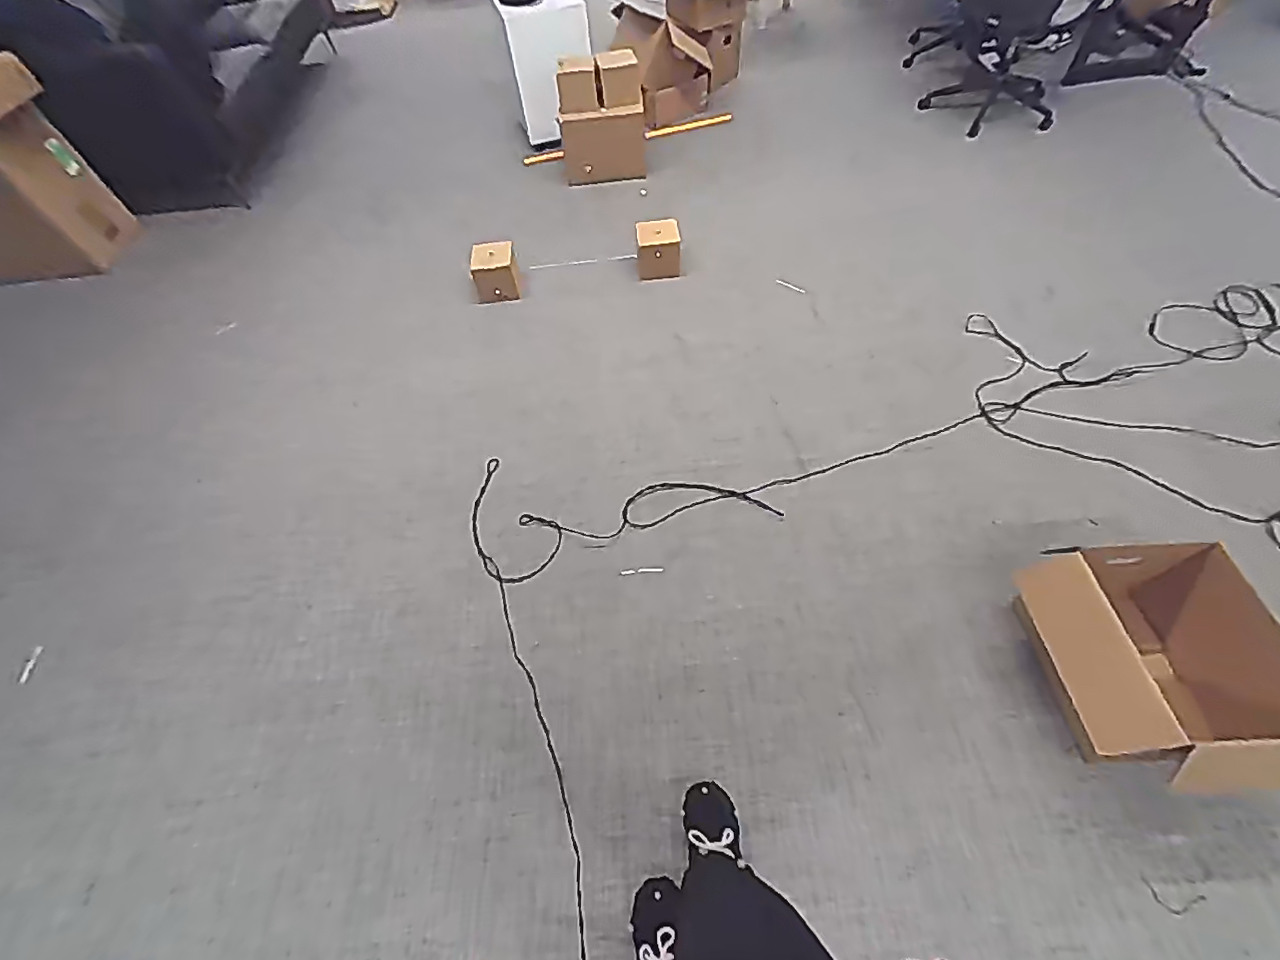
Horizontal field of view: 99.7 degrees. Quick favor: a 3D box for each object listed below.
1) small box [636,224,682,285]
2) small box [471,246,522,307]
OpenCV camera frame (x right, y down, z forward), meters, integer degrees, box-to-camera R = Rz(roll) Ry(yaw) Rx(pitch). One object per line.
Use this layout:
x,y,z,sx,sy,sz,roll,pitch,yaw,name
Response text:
0.079,-0.949,2.283,0.179,0.176,0.168,-7,56,1,small box
-0.599,-0.854,2.276,0.168,0.176,0.179,-7,56,0,small box
